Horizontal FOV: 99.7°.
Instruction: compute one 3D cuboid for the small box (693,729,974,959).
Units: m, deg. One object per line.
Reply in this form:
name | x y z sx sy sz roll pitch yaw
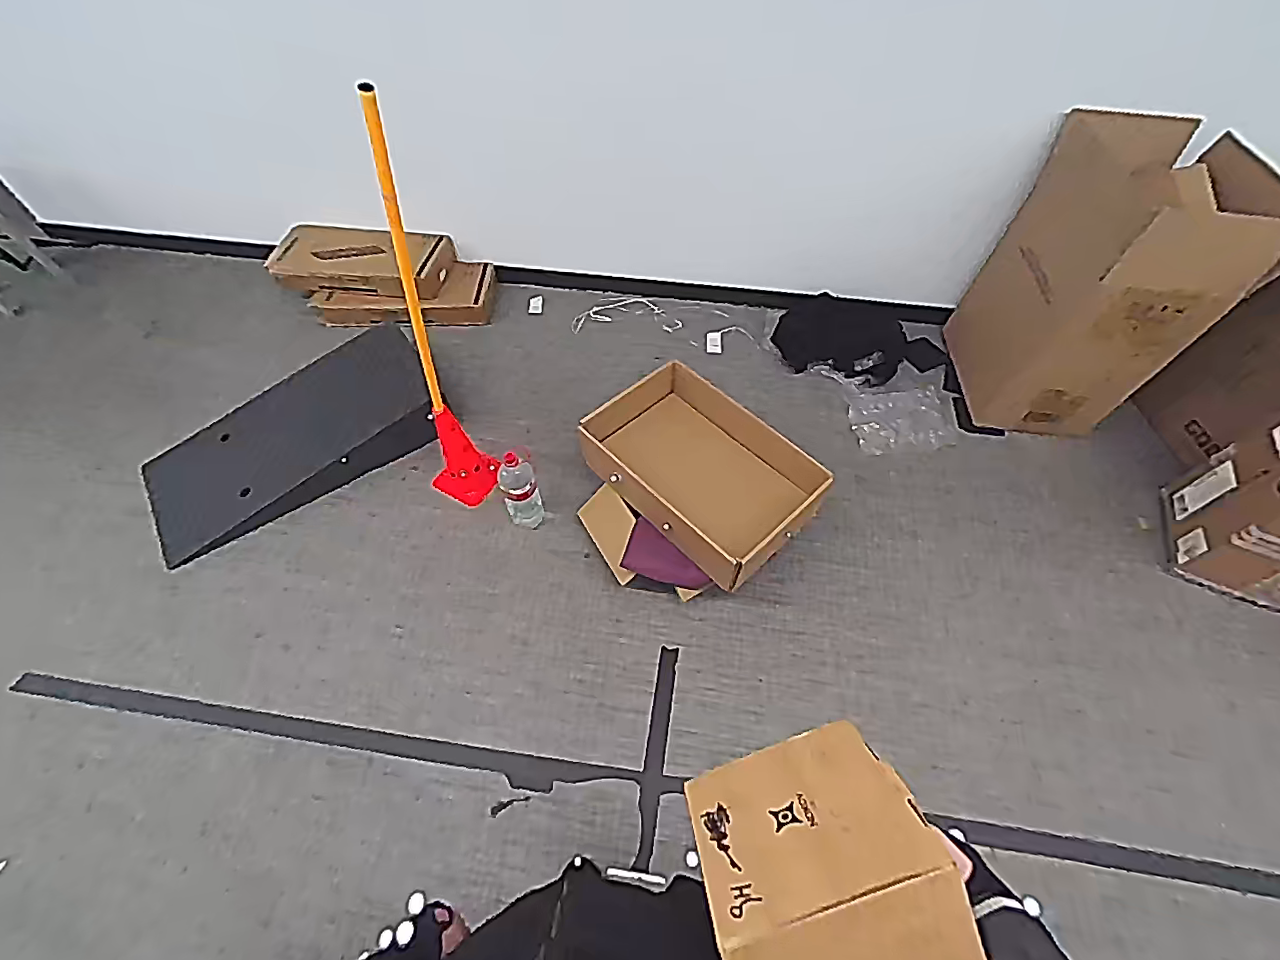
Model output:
small box | 0.164 0.365 0.475 0.179 0.168 0.176 -20 99 -1
